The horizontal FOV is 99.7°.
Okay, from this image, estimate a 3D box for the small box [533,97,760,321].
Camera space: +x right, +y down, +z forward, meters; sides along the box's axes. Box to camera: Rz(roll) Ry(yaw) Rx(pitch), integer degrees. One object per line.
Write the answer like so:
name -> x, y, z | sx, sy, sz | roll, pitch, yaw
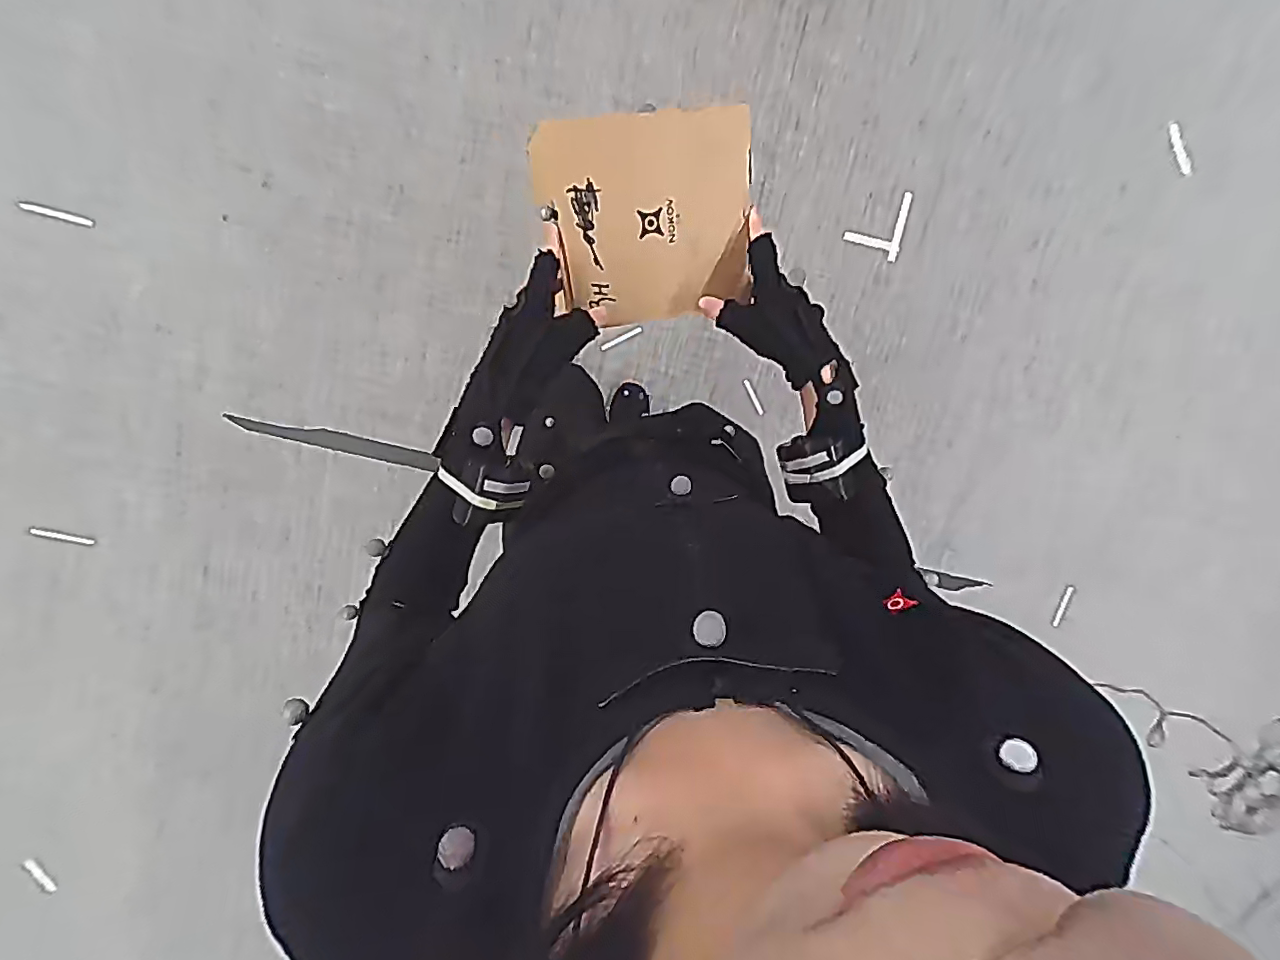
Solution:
small box -> 0.000, -0.264, 0.534 | 0.179, 0.176, 0.168 | -12, 118, -11
